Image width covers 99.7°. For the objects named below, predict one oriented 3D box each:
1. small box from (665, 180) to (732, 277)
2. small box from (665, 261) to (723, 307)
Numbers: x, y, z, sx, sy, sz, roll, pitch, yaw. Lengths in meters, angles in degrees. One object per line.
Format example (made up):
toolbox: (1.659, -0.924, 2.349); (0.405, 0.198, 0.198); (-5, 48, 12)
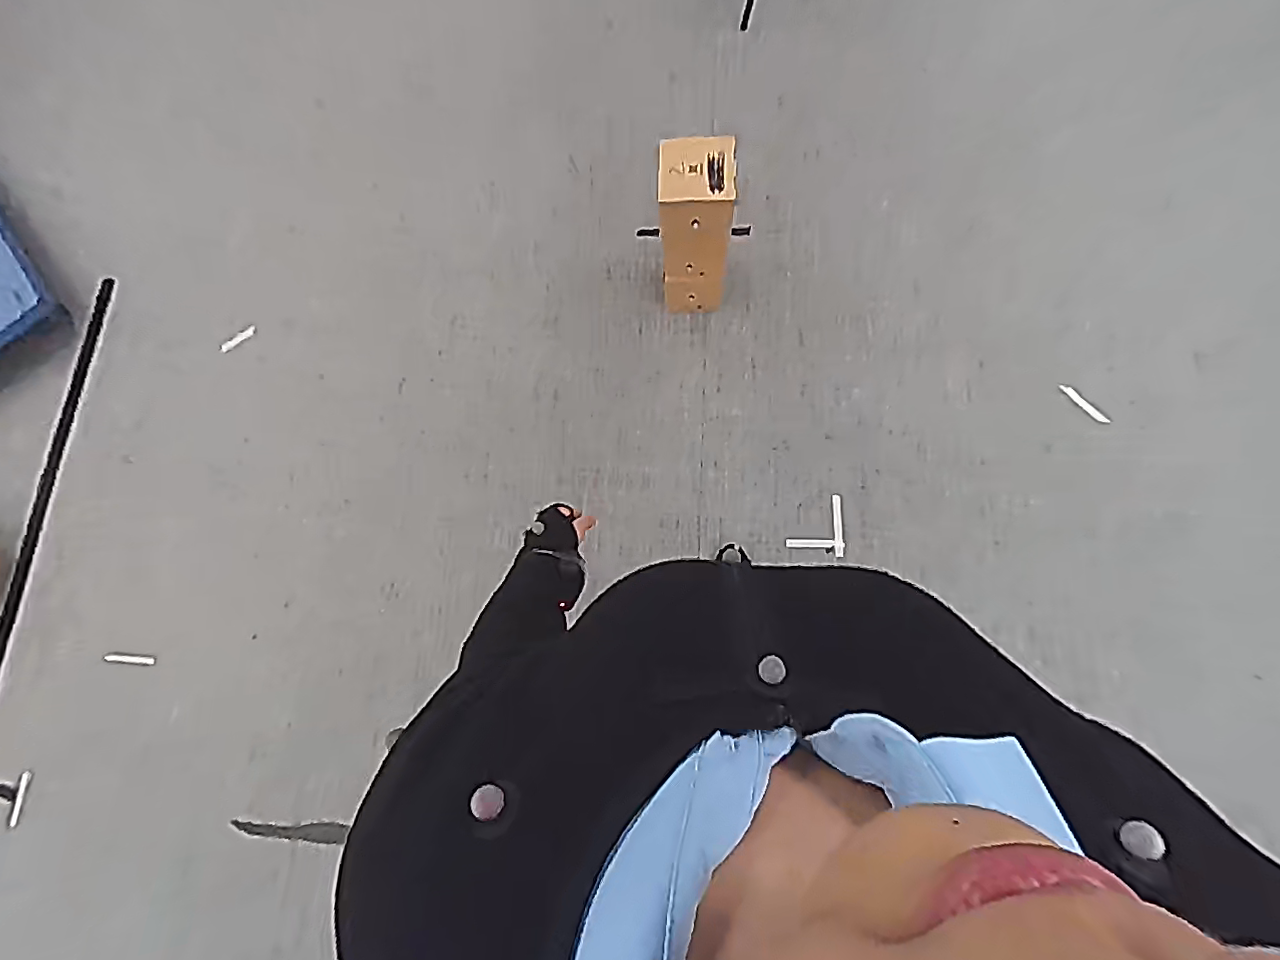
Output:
small box: (0.155, -0.675, 1.458); (0.168, 0.176, 0.179); (3, 79, 5)
small box: (0.162, -0.633, 1.616); (0.168, 0.176, 0.179); (1, 78, 4)
